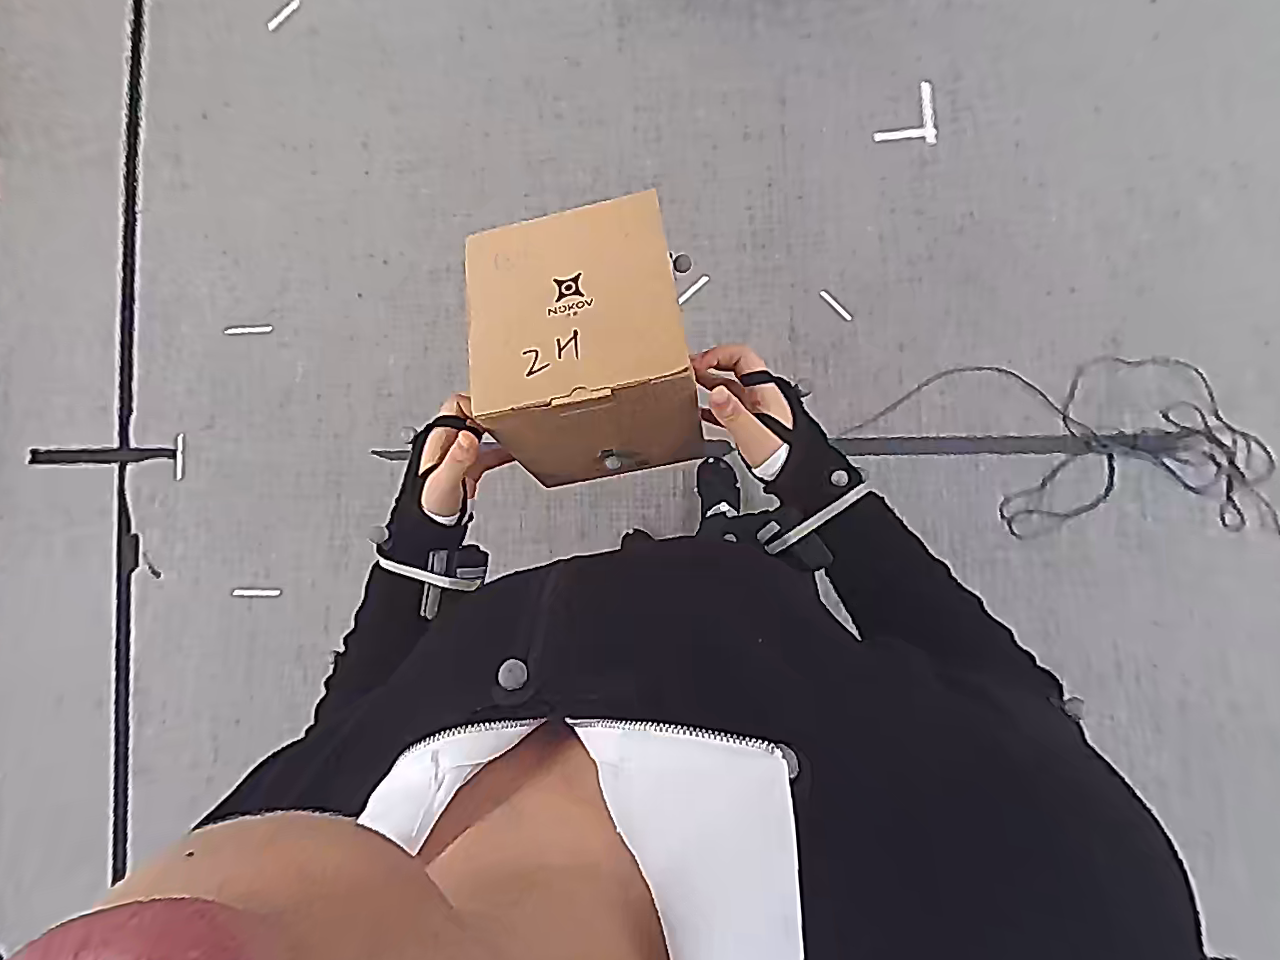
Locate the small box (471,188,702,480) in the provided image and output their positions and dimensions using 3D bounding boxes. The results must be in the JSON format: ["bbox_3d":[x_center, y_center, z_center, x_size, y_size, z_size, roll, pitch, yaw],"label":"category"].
[{"bbox_3d":[-0.039,-0.116,0.486,0.168,0.176,0.179,-10,71,6],"label":"small box"}]
